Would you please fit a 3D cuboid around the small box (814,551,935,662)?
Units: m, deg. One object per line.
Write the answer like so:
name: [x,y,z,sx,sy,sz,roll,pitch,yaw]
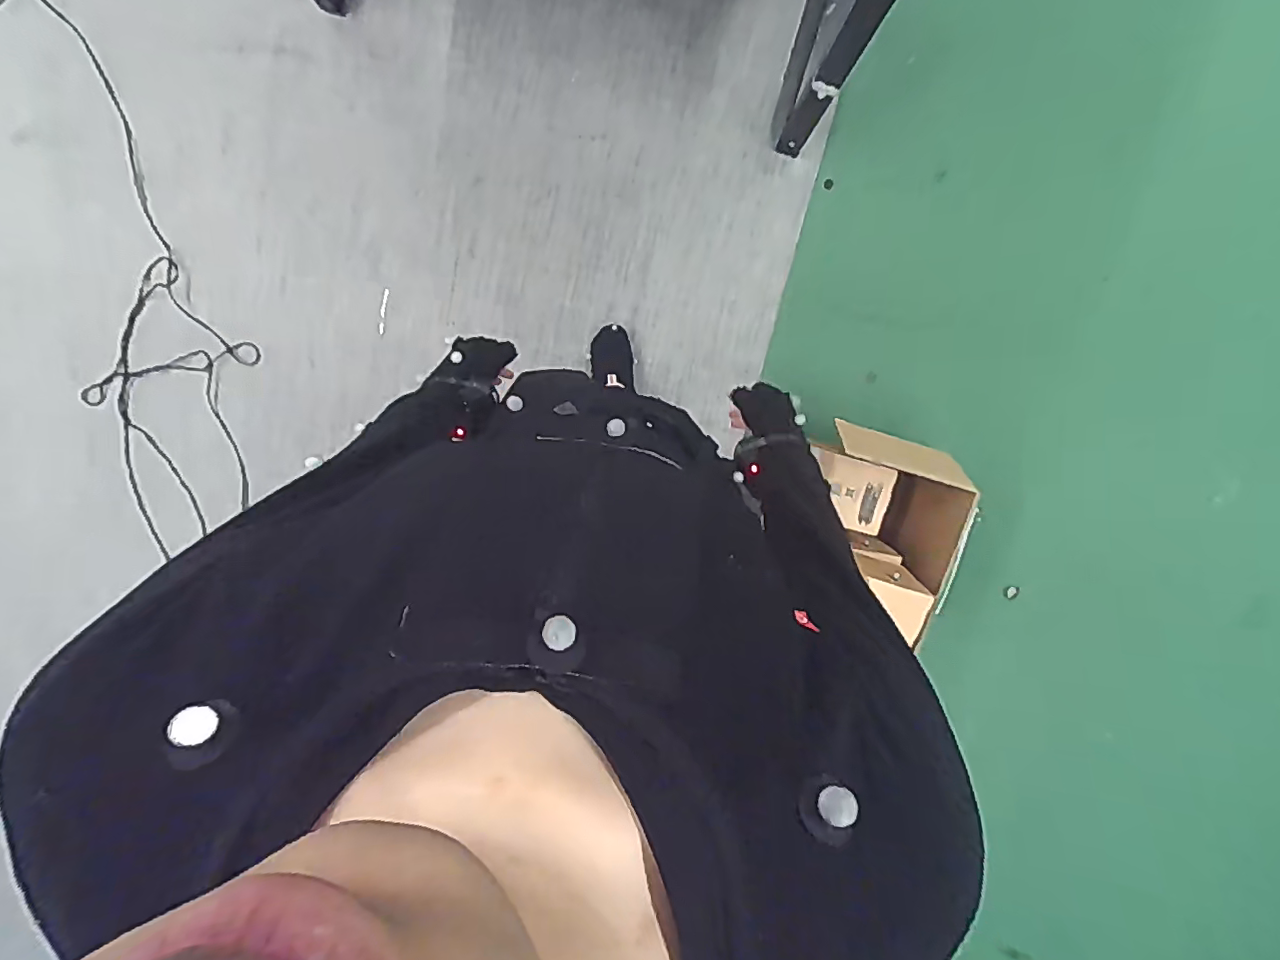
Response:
small box: [0.520,0.279,1.233,0.179,0.176,0.168,17,104,-2]
